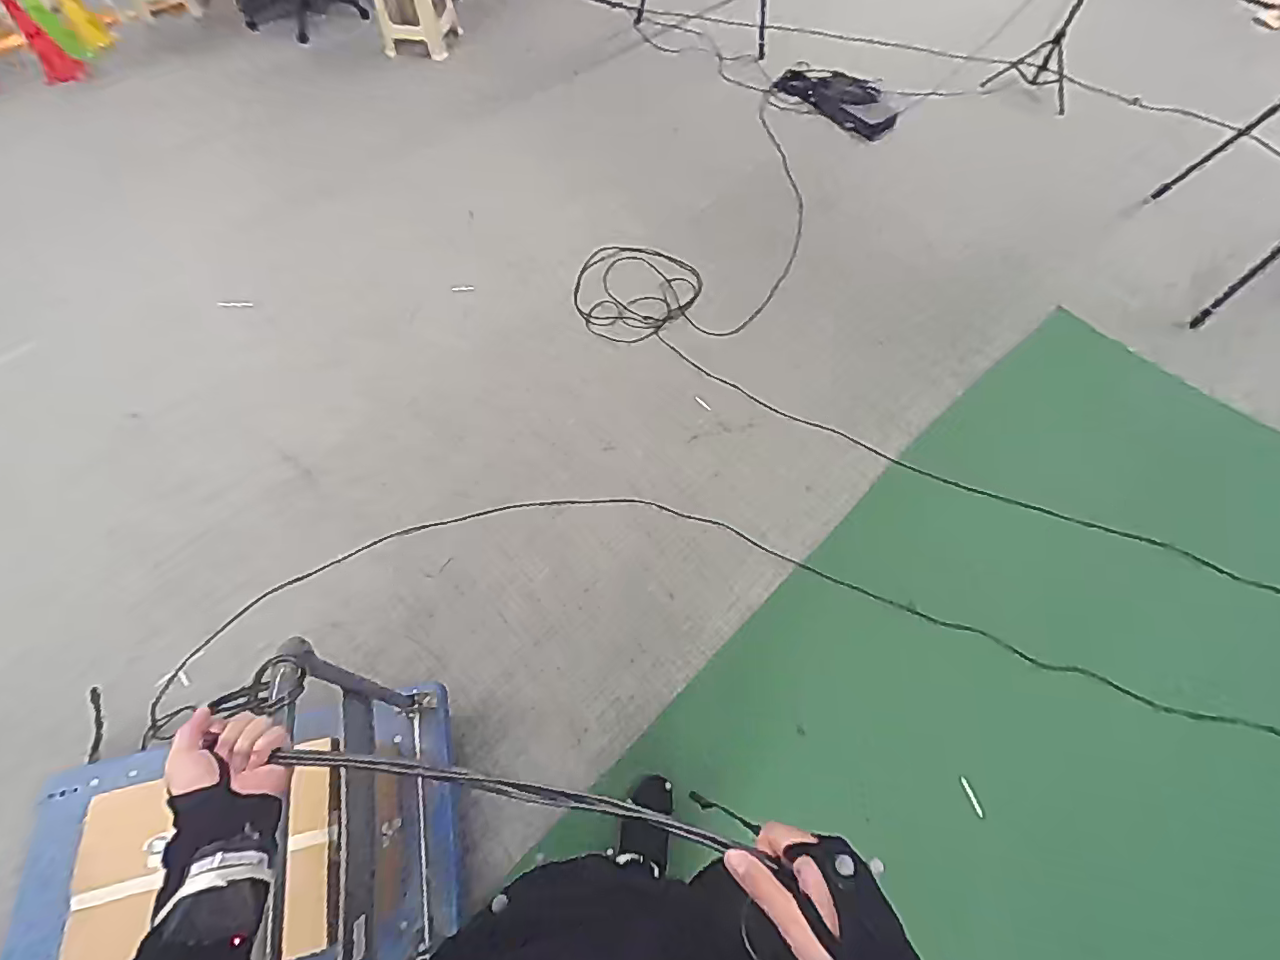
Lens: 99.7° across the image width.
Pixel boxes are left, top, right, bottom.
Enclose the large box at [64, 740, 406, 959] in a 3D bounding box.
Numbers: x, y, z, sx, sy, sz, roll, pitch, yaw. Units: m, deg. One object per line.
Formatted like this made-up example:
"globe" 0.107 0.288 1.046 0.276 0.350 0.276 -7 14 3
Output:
"large box" -0.704 0.709 1.012 0.408 0.320 0.320 -13 62 -6
